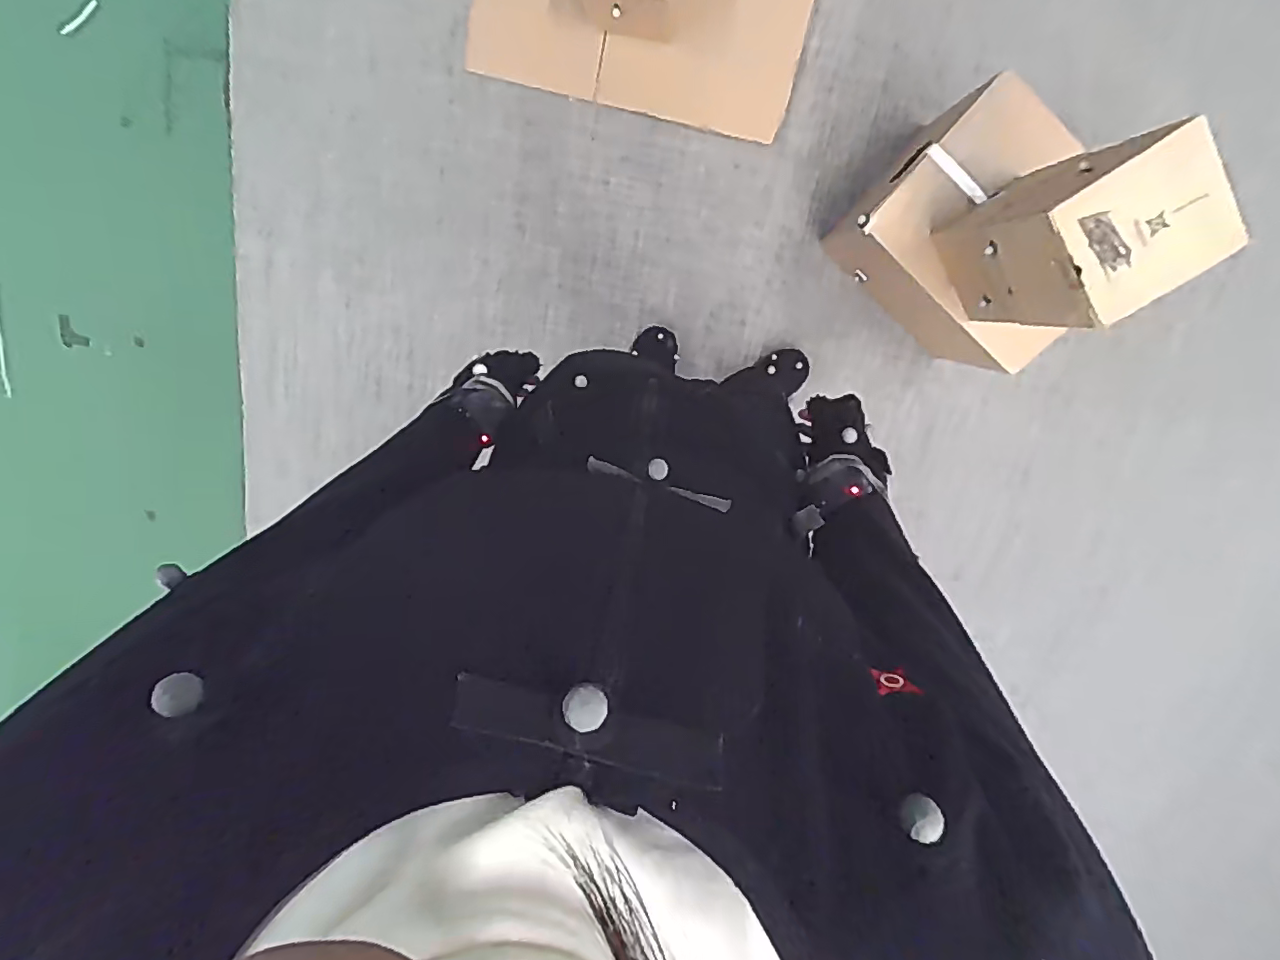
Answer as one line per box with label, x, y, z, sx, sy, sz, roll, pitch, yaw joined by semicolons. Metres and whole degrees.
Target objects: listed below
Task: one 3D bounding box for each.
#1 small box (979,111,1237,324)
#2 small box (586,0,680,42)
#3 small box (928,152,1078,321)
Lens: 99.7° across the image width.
small box;0.588;-0.326;0.712;0.179;0.176;0.168;-35;102;14
small box;-0.012;-0.981;1.036;0.179;0.176;0.168;10;106;3
small box;0.605;-0.377;0.868;0.168;0.176;0.179;-32;101;13
